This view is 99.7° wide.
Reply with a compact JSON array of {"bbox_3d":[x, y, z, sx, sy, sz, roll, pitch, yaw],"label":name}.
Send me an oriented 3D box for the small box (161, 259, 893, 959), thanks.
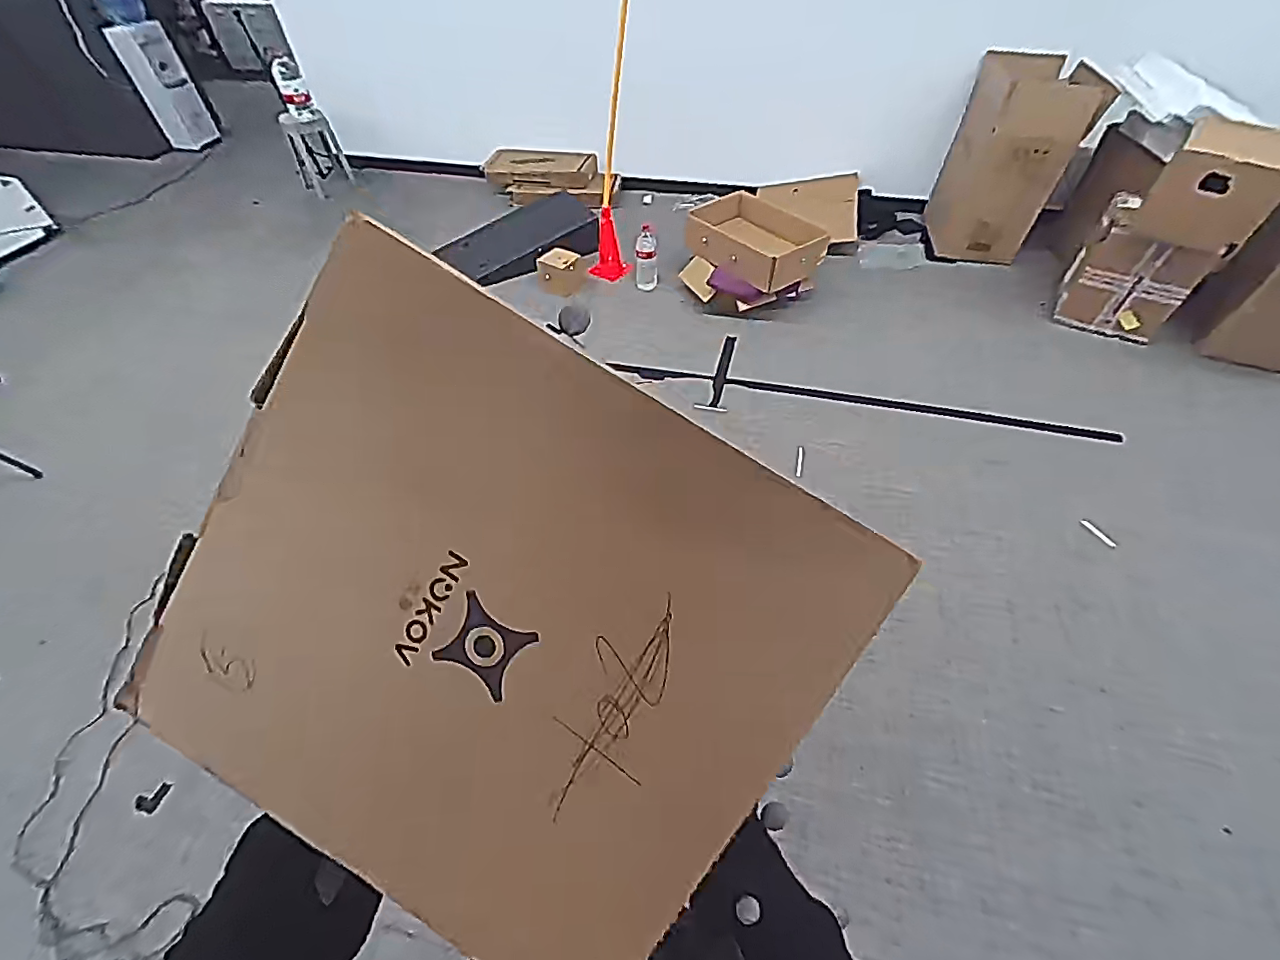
[{"bbox_3d":[-0.035,0.041,0.242,0.179,0.176,0.168,31,98,3],"label":"small box"}]
